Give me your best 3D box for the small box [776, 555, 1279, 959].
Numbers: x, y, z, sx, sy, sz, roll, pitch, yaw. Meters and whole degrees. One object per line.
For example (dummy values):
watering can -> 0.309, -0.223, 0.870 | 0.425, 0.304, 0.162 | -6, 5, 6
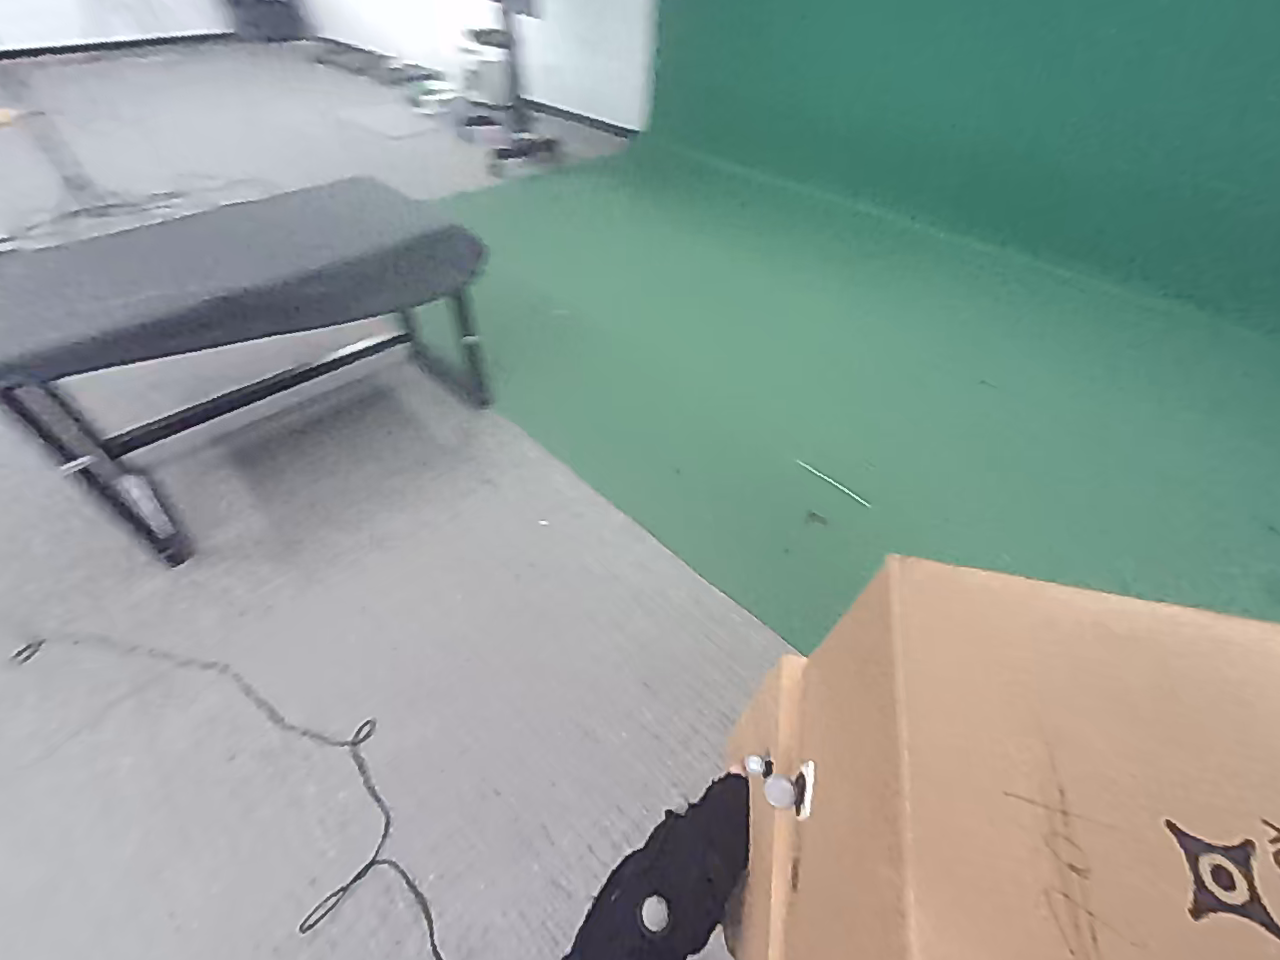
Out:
small box -> 0.160, 0.153, 0.220 | 0.179, 0.176, 0.168 | 7, 54, 7

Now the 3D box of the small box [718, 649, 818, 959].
small box -> 0.157, 0.234, 0.361 | 0.179, 0.176, 0.168 | 9, 54, 6
